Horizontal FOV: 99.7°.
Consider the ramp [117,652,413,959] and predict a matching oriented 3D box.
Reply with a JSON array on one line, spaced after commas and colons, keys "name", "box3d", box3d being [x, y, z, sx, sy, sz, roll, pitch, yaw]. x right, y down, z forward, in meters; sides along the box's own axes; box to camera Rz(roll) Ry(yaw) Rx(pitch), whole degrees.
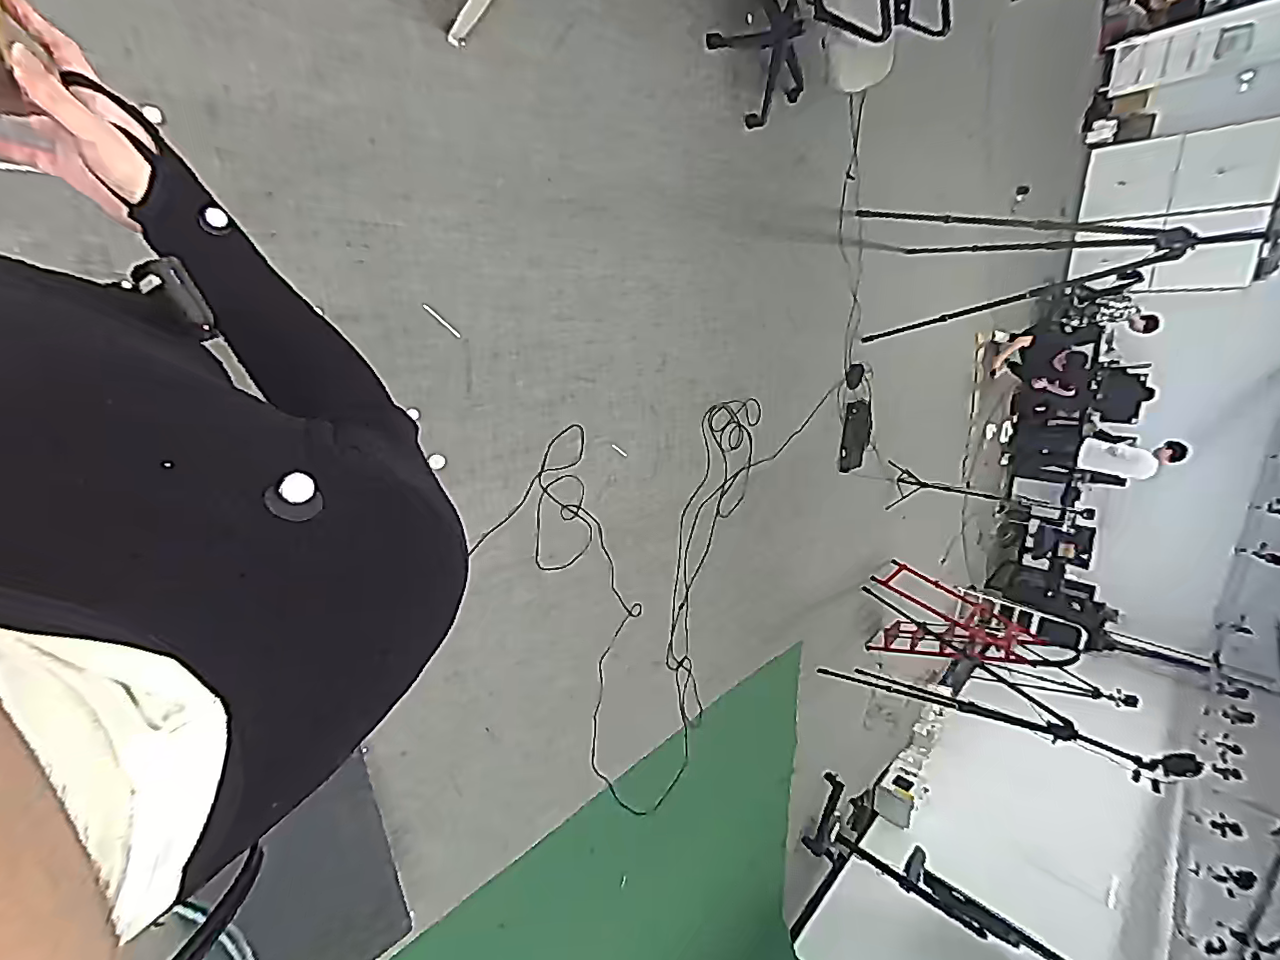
[{"name": "ramp", "box3d": [-1.009, 1.047, 1.541, 0.509, 0.206, 0.991, -20, 114, -39]}]
